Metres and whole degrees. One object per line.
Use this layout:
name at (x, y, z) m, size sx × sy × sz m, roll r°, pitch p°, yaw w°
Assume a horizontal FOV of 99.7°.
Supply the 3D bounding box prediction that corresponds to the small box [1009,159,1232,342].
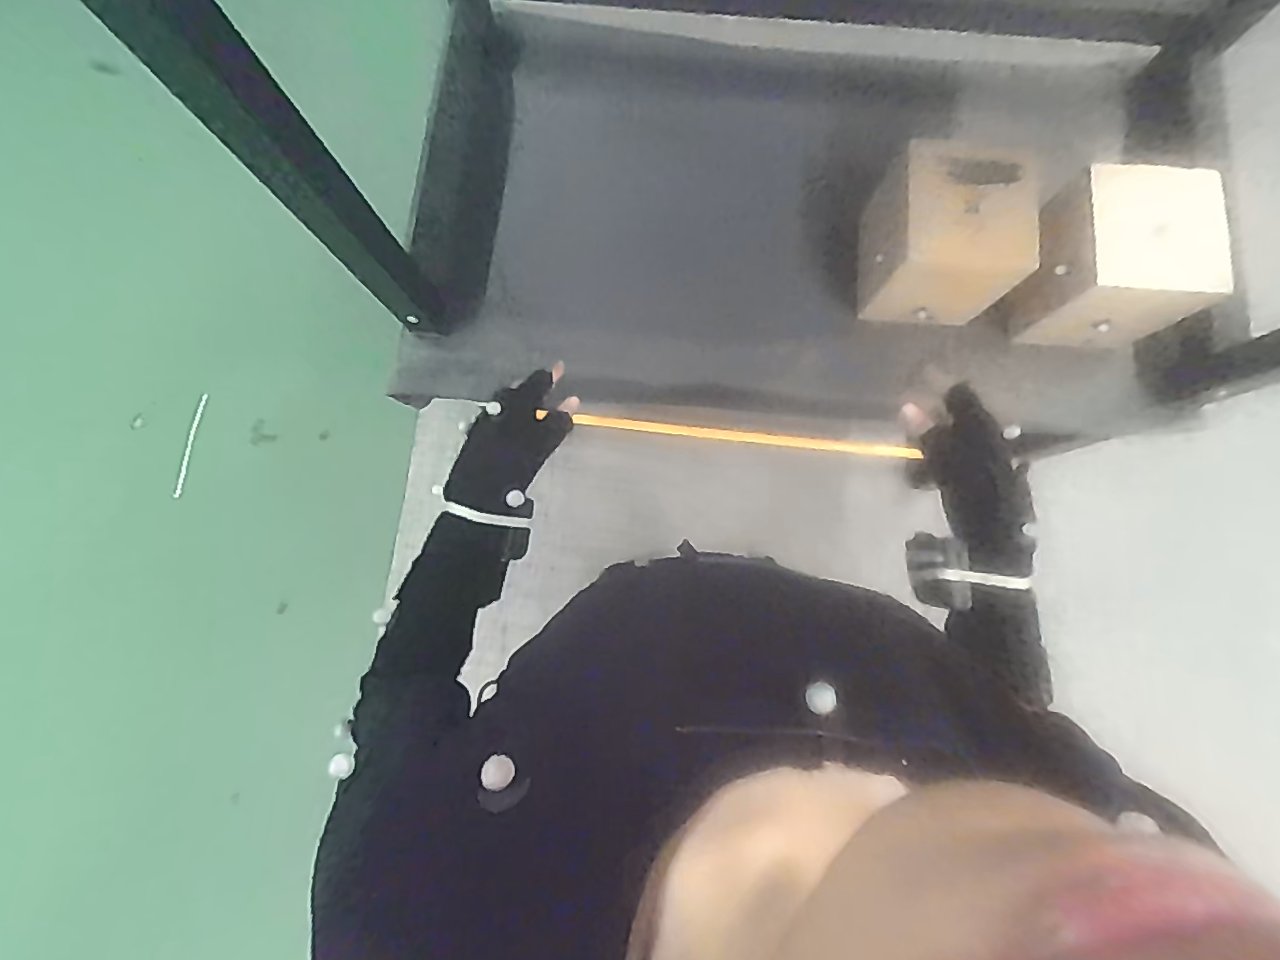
small box at (0.652, -0.309, 0.758) m, size 0.168 × 0.176 × 0.179 m, roll 4°, pitch 80°, yaw 2°
